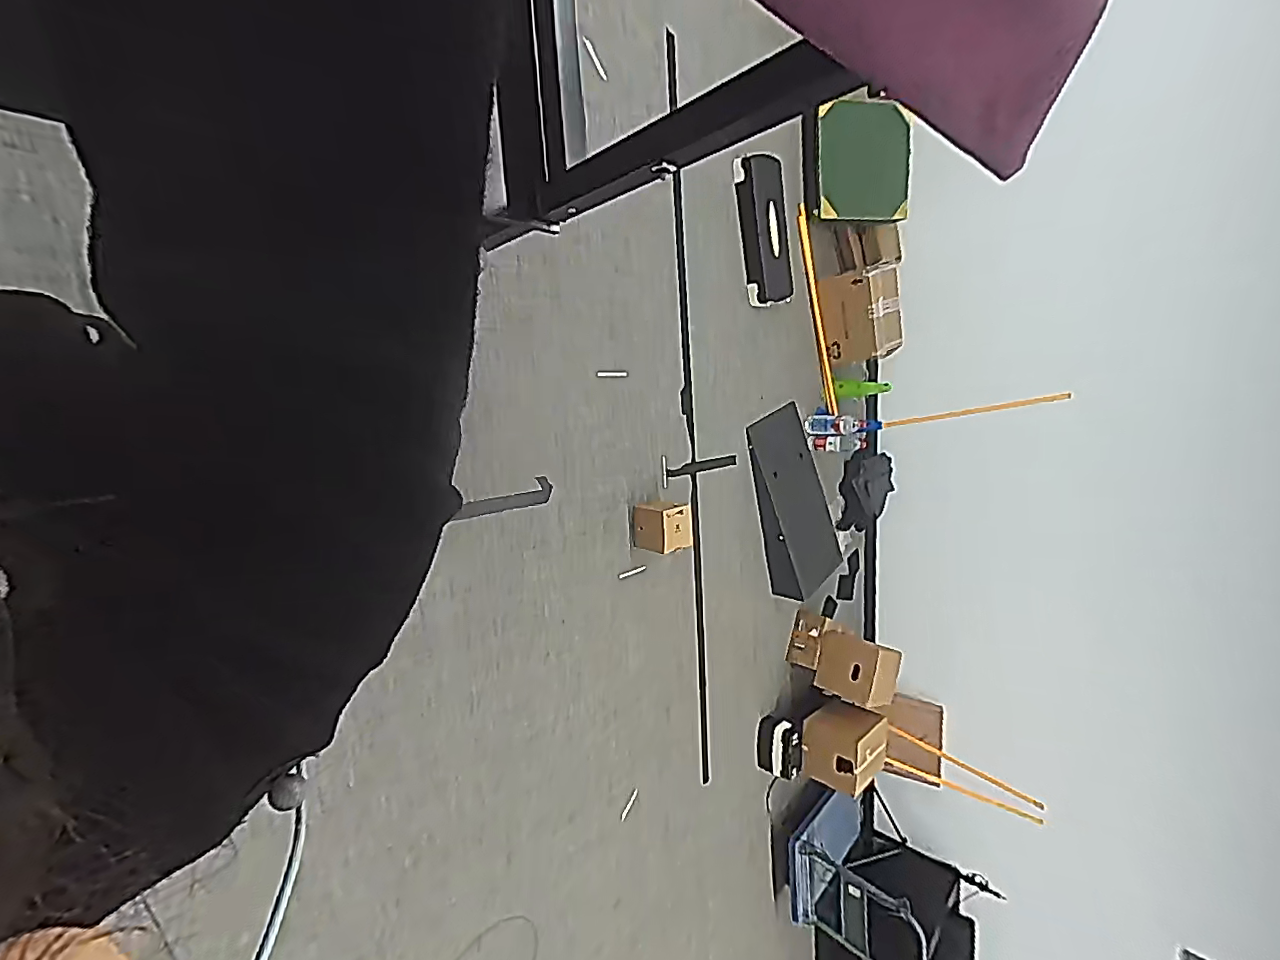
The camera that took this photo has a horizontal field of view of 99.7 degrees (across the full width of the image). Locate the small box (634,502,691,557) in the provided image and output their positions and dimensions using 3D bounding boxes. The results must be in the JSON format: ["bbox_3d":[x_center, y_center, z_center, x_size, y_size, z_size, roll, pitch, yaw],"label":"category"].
[{"bbox_3d":[0.089,0.195,2.186,0.168,0.176,0.179,-10,102,-45],"label":"small box"}]
